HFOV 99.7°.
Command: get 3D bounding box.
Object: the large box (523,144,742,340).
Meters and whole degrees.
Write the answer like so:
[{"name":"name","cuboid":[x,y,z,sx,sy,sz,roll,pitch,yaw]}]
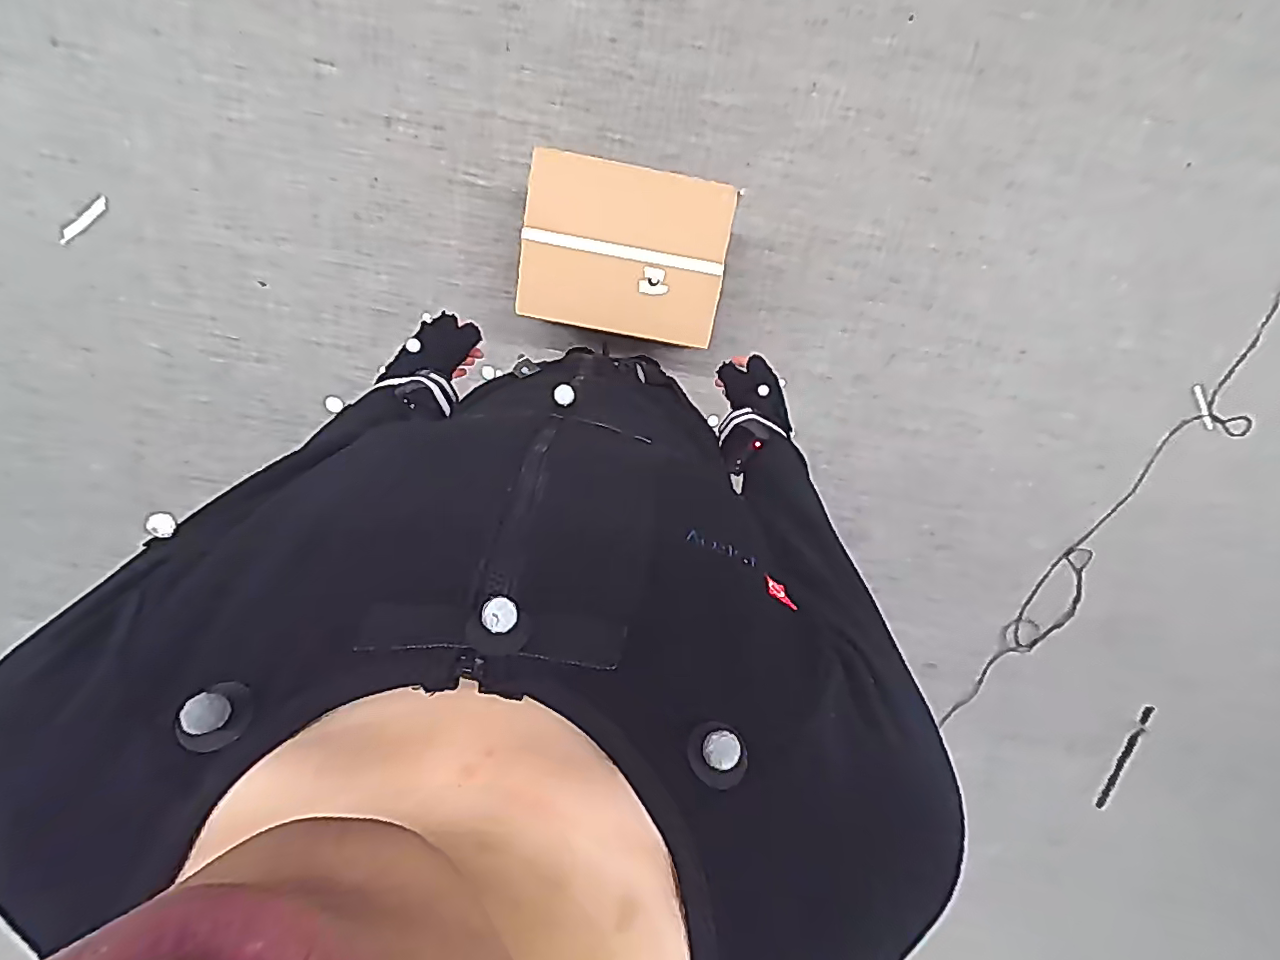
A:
[{"name":"large box","cuboid":[-0.026,-0.500,1.211,0.408,0.320,0.320,9,105,-4]}]
